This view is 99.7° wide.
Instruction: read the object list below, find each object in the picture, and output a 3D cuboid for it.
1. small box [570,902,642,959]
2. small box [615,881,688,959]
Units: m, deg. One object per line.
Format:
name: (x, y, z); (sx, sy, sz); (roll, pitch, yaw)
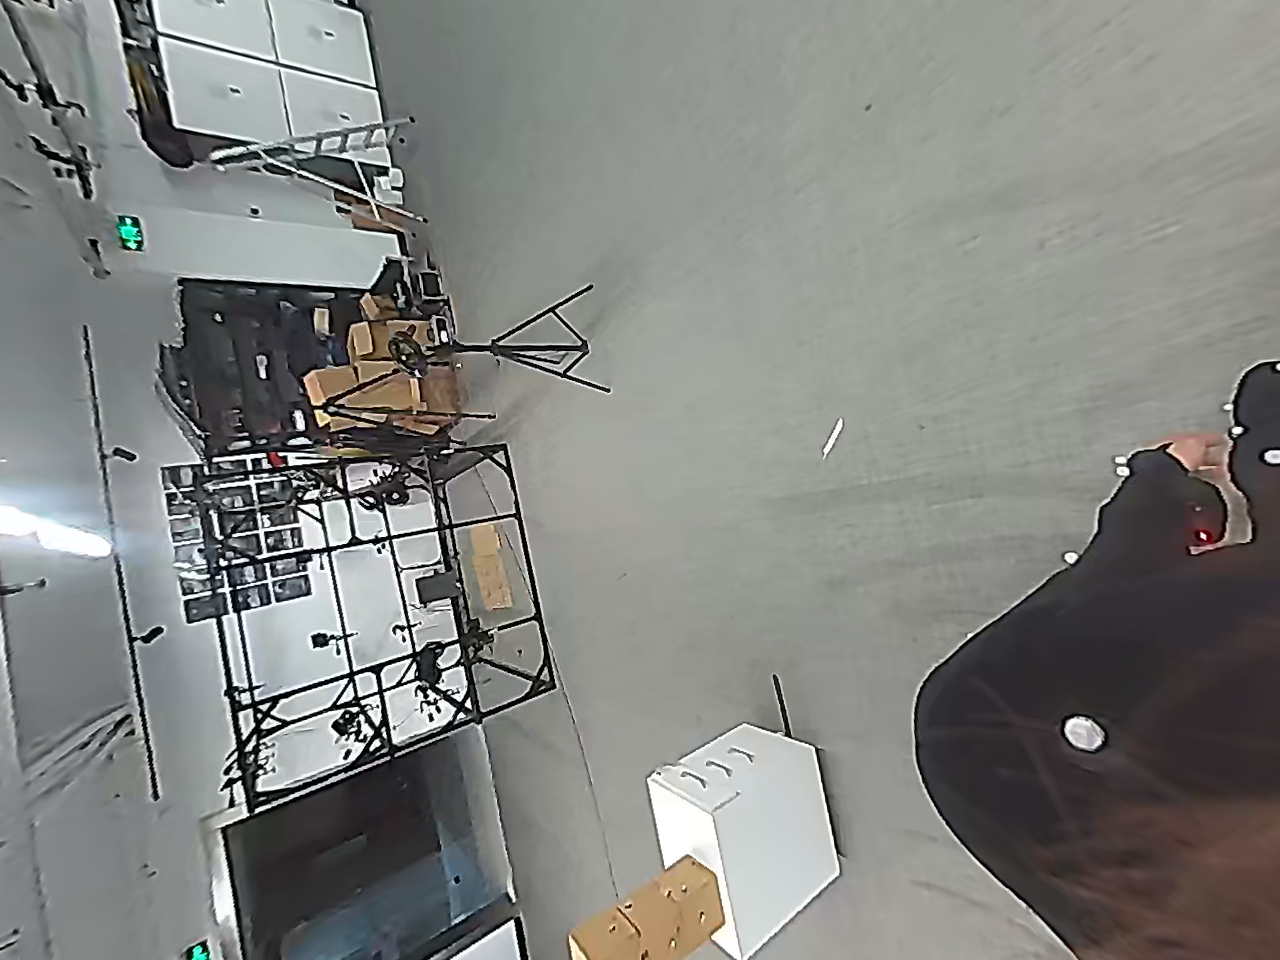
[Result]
small box: (-0.098, 1.502, 1.706); (0.168, 0.176, 0.179); (-12, 88, 57)
small box: (0.036, 1.486, 1.799); (0.179, 0.176, 0.168); (-9, 92, 56)
